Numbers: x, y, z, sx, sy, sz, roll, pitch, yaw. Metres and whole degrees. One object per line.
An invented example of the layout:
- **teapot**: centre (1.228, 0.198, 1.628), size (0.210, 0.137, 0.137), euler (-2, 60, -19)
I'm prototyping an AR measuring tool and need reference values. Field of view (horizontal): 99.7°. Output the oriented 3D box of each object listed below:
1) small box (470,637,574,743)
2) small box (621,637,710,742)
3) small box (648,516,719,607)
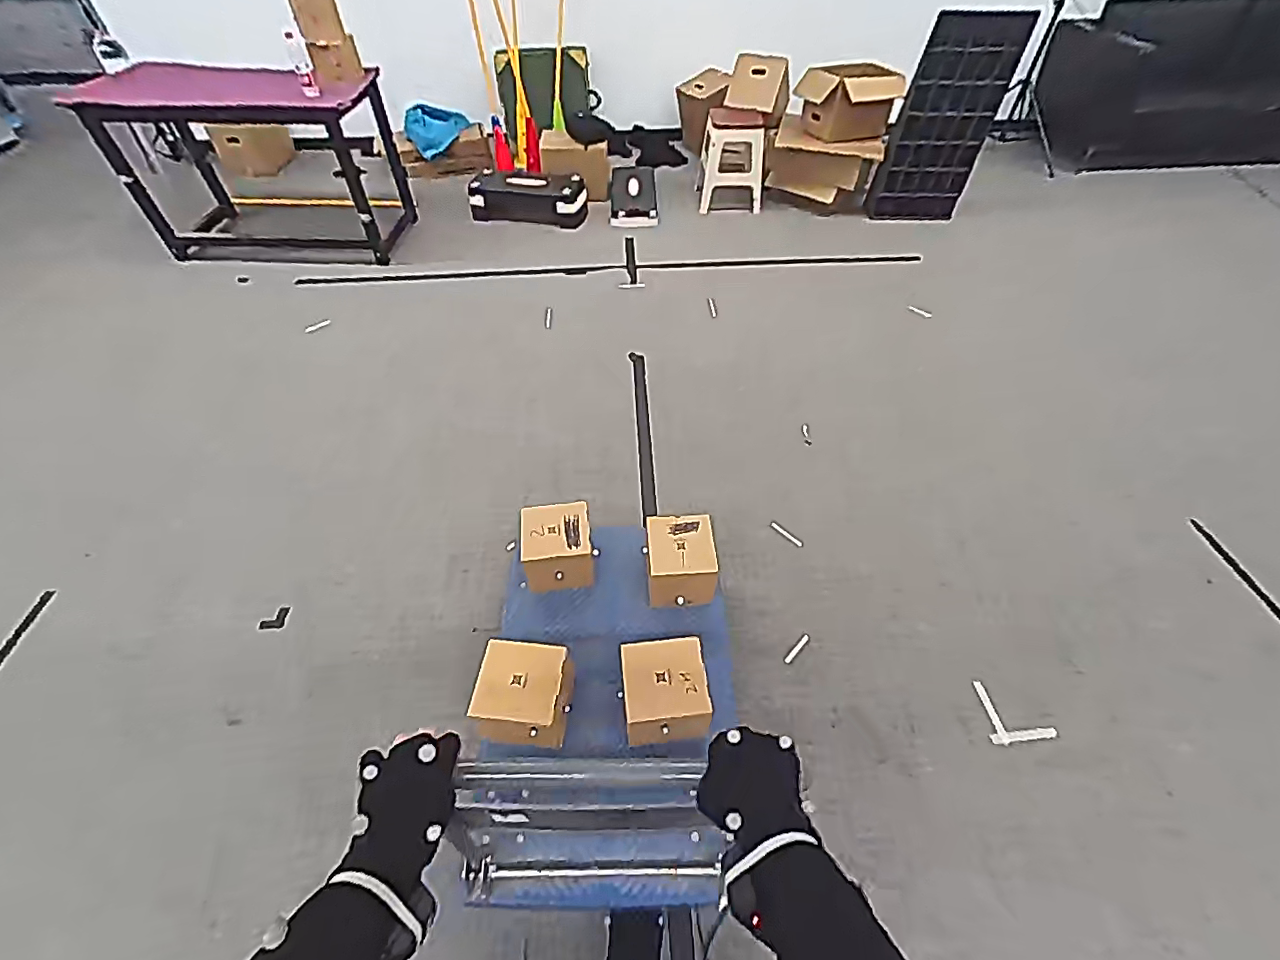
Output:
- **small box**: centre (-0.252, 0.469, 1.201), size (0.179, 0.176, 0.168), euler (6, 49, 3)
- **small box**: centre (0.053, 0.468, 1.200), size (0.179, 0.176, 0.168), euler (-4, 49, -3)
- **small box**: centre (0.108, 0.215, 1.420), size (0.168, 0.176, 0.179), euler (-2, 50, -2)
